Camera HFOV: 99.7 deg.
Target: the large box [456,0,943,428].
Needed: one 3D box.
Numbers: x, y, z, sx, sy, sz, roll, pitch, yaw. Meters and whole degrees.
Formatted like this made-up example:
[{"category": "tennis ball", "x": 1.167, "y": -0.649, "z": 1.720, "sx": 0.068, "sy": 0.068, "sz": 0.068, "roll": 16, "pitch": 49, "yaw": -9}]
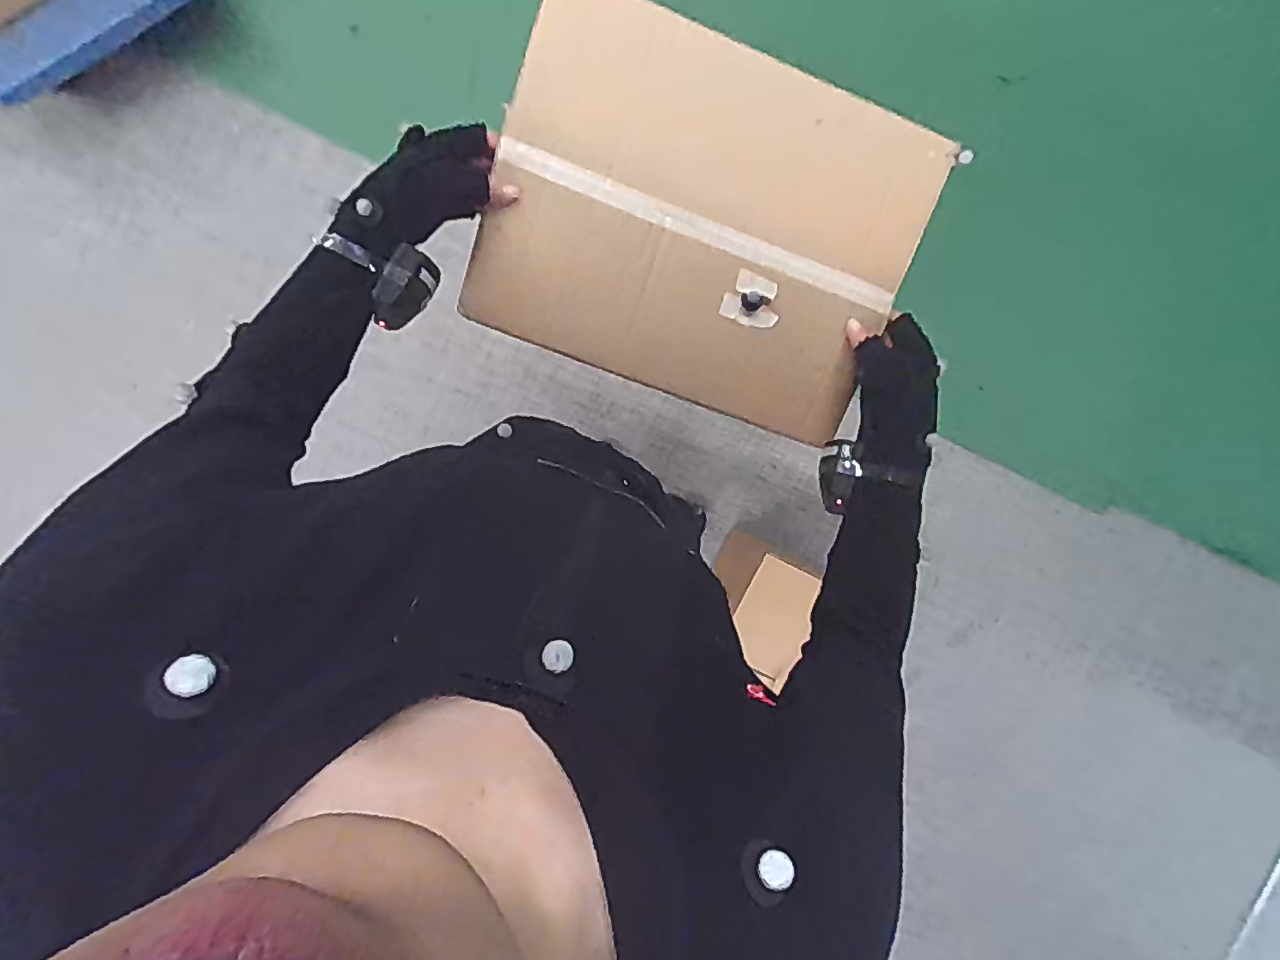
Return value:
[{"category": "large box", "x": 0.044, "y": -0.282, "z": 0.659, "sx": 0.408, "sy": 0.320, "sz": 0.320, "roll": 18, "pitch": 101, "yaw": -8}]
